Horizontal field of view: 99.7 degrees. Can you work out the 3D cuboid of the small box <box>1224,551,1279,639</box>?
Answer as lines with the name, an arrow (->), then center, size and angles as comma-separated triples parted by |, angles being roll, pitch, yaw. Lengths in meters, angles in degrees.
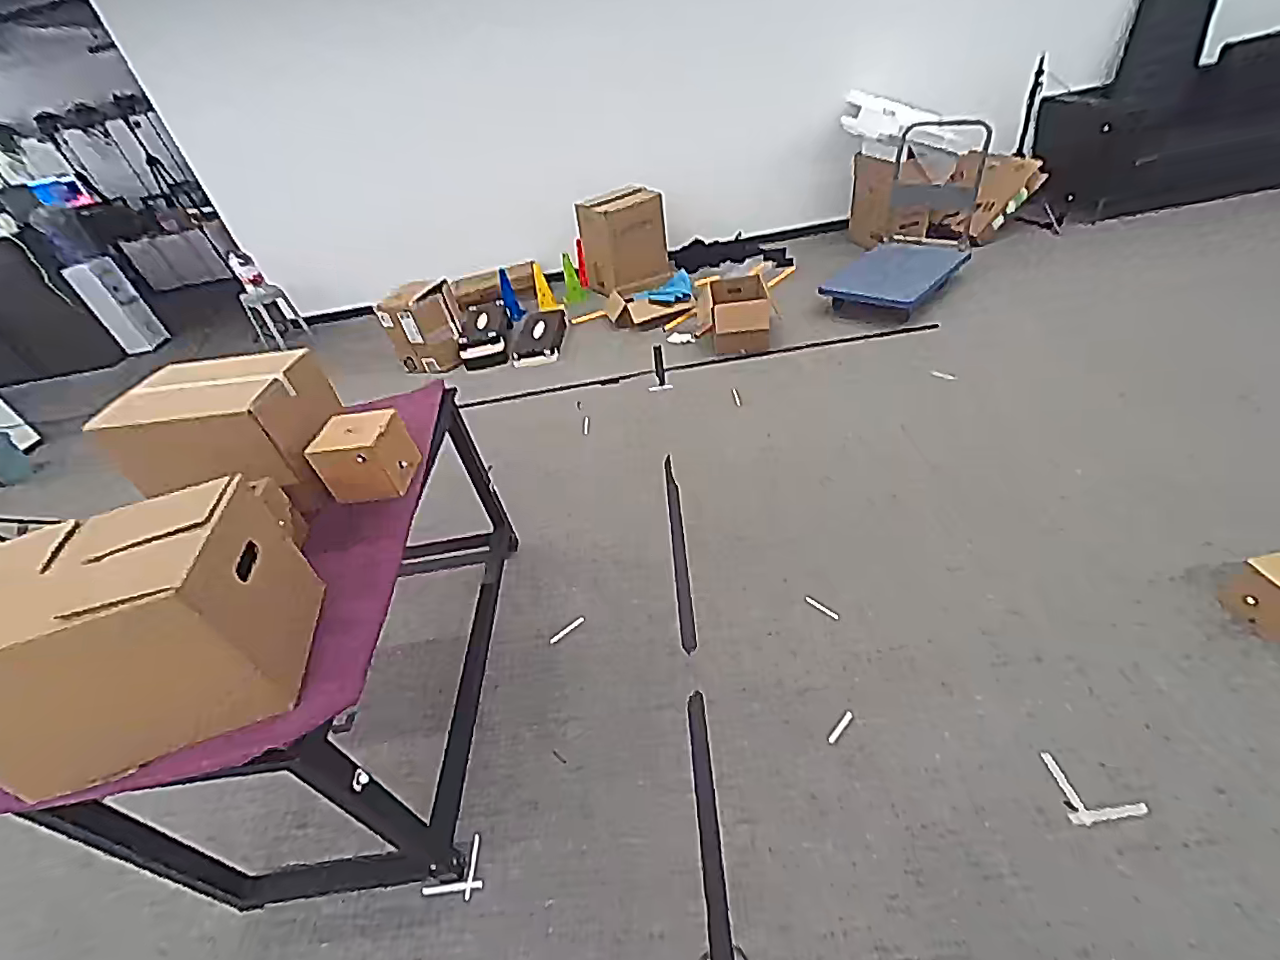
small box -> 1.765, 0.311, 1.469 | 0.179, 0.176, 0.168 | -10, 39, 2
